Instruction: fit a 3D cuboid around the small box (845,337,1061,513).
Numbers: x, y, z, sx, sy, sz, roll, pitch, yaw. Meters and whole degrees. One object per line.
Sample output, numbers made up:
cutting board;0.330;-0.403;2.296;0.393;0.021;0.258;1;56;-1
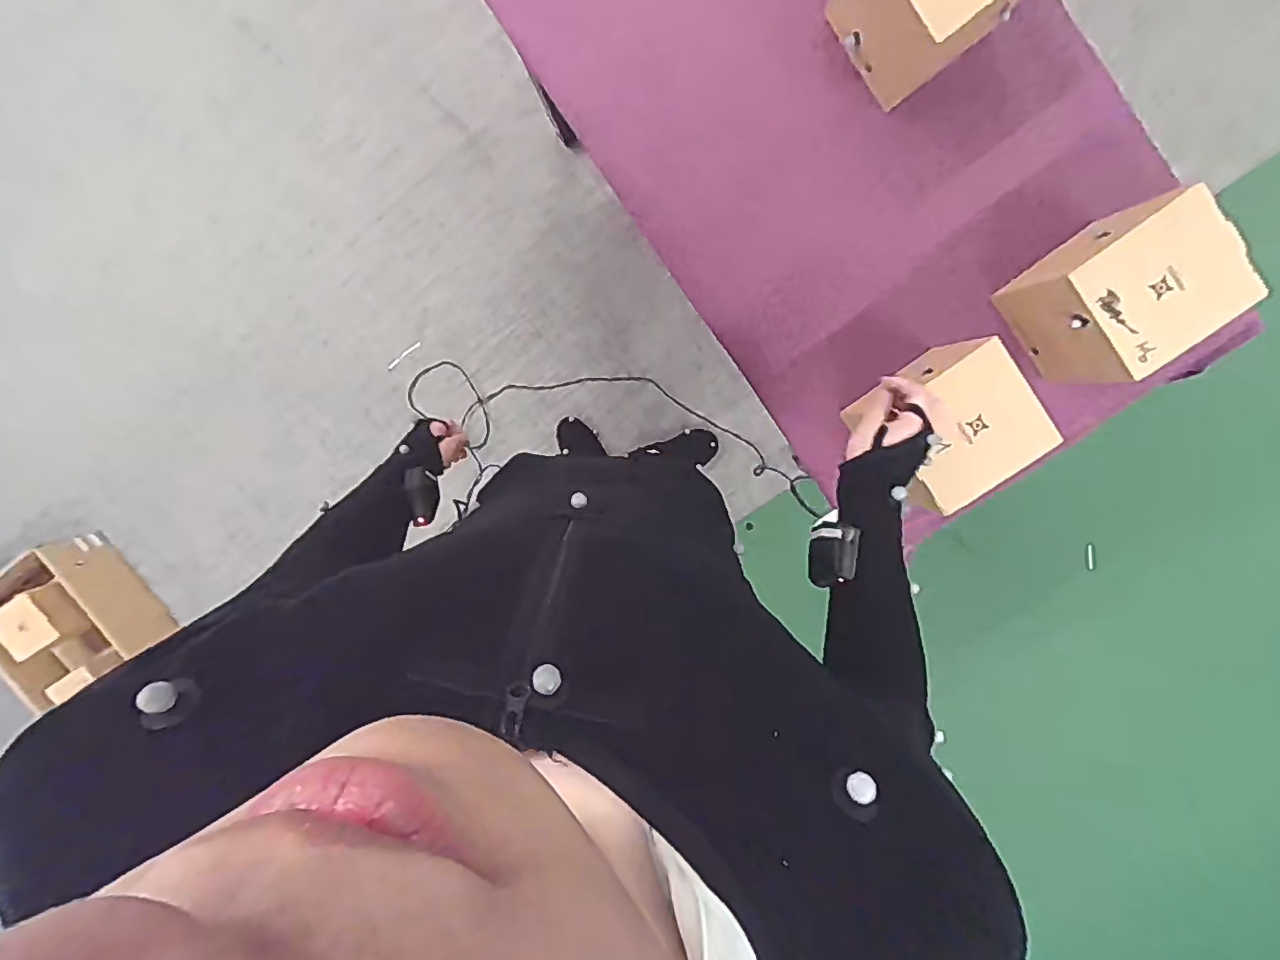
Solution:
small box;0.430;-0.081;0.774;0.179;0.176;0.168;-35;95;8

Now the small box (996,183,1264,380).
small box;0.644;-0.253;0.736;0.179;0.176;0.168;-37;95;8

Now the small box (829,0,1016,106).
small box;0.373;-0.636;0.686;0.179;0.176;0.168;-35;96;9
